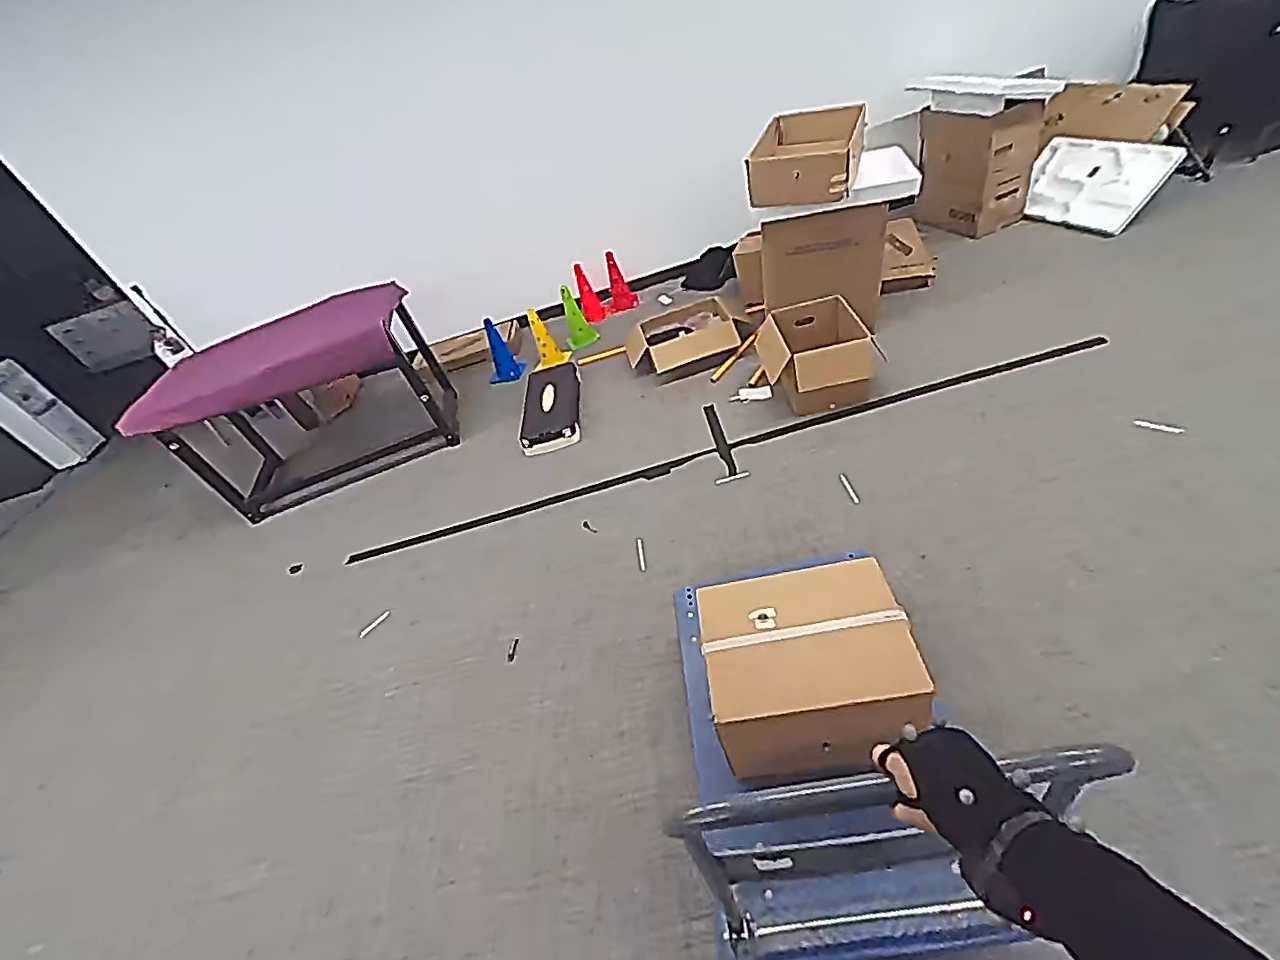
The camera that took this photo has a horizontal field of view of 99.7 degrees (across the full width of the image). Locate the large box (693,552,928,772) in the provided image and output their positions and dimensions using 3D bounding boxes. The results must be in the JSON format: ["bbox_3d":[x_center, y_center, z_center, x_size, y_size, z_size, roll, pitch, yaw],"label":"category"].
[{"bbox_3d":[0.360,0.409,1.197,0.408,0.320,0.320,-14,40,9],"label":"large box"}]
